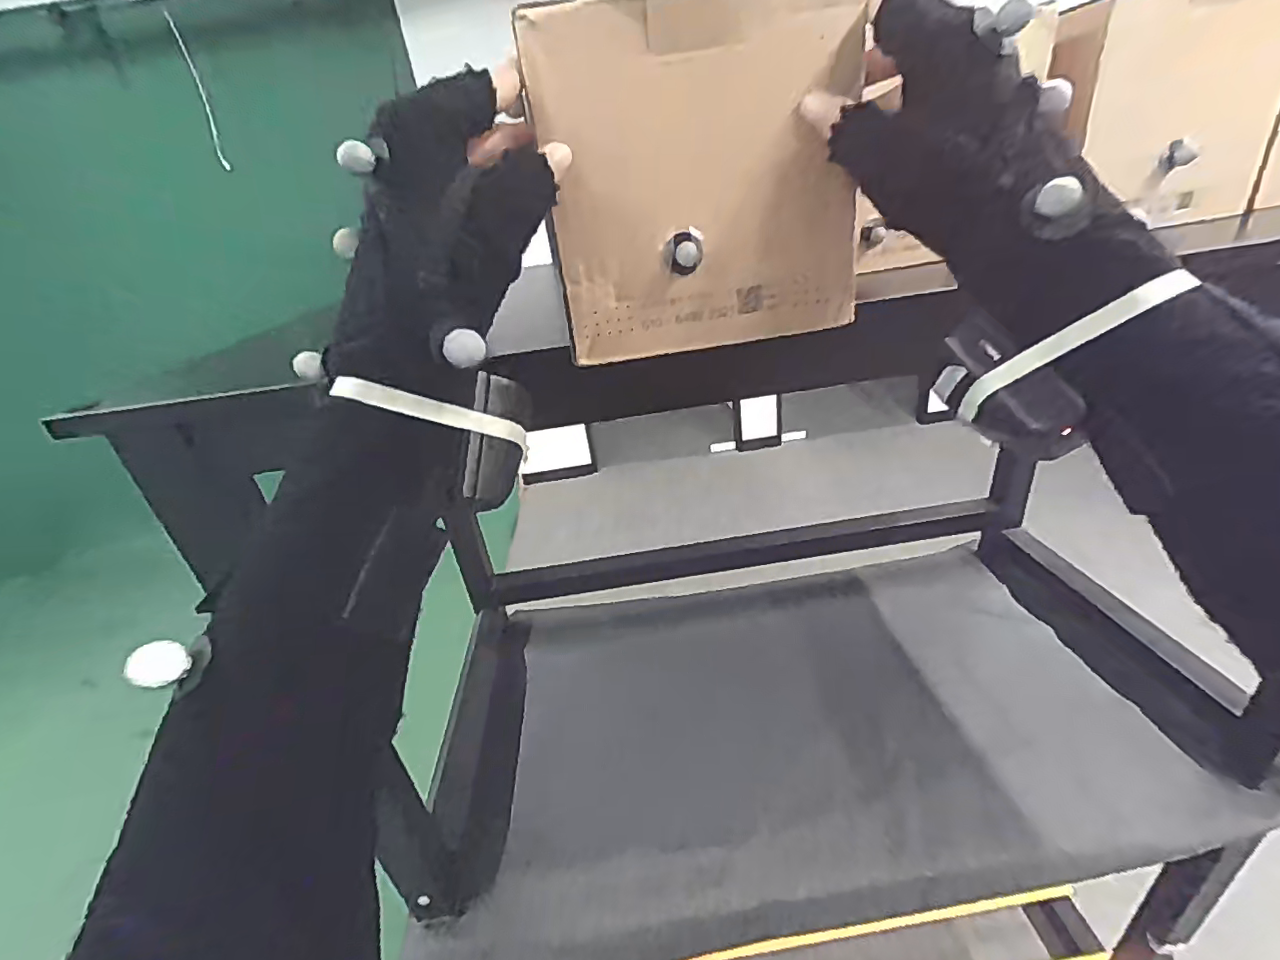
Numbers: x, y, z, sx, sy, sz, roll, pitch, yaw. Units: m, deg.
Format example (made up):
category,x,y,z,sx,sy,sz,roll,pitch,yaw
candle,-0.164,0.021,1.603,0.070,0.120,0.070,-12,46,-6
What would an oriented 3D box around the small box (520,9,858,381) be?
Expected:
category,x,y,z,sx,sy,sz,roll,pitch,yaw
small box,0.026,-0.177,0.365,0.168,0.176,0.179,-9,28,-2
